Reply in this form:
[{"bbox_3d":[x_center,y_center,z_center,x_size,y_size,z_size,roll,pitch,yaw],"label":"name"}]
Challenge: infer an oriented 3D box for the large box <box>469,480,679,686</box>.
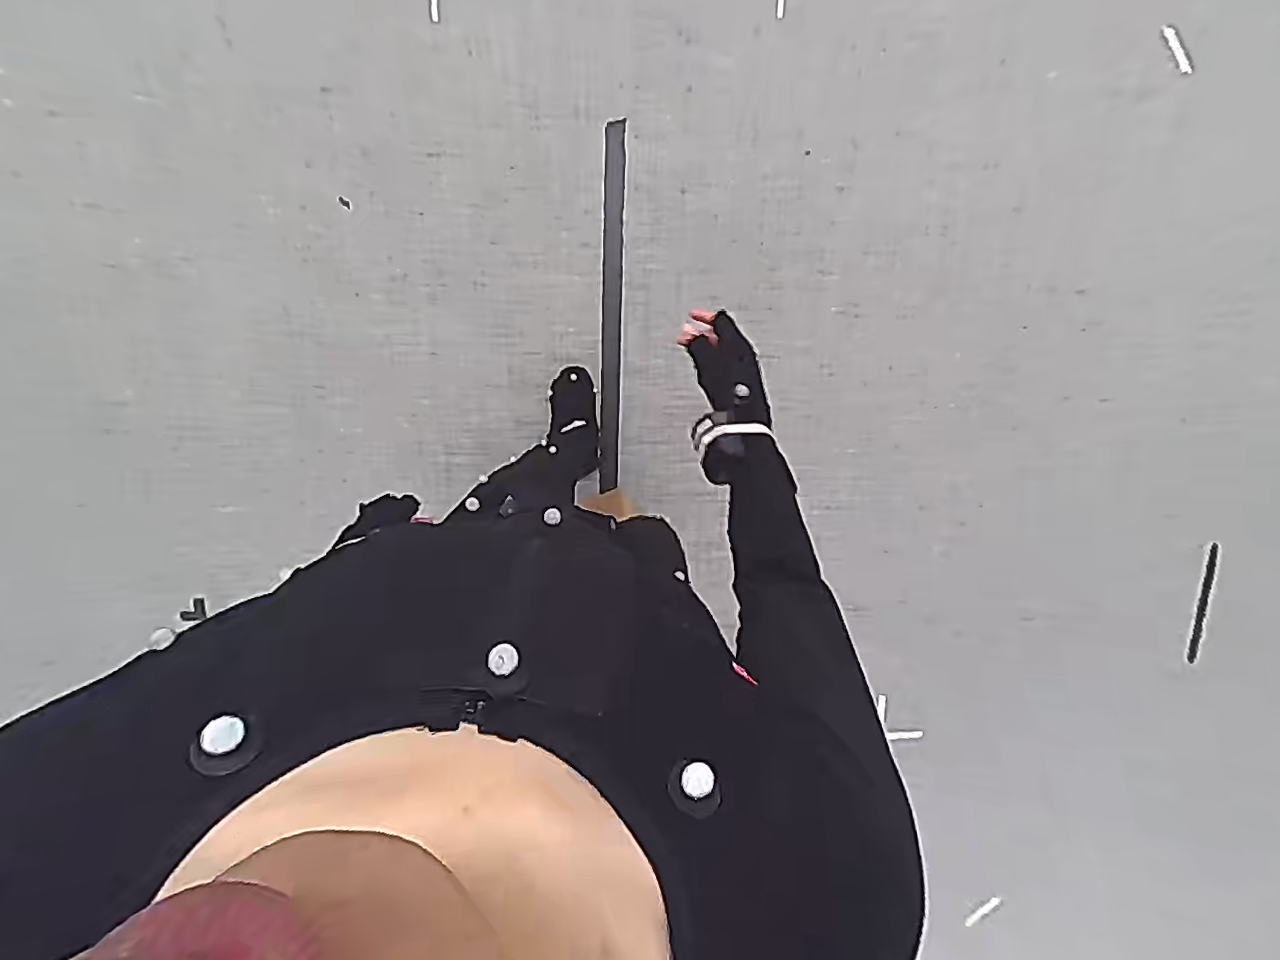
[{"bbox_3d":[-0.154,0.242,1.380,0.408,0.320,0.320,-23,103,2],"label":"large box"}]
